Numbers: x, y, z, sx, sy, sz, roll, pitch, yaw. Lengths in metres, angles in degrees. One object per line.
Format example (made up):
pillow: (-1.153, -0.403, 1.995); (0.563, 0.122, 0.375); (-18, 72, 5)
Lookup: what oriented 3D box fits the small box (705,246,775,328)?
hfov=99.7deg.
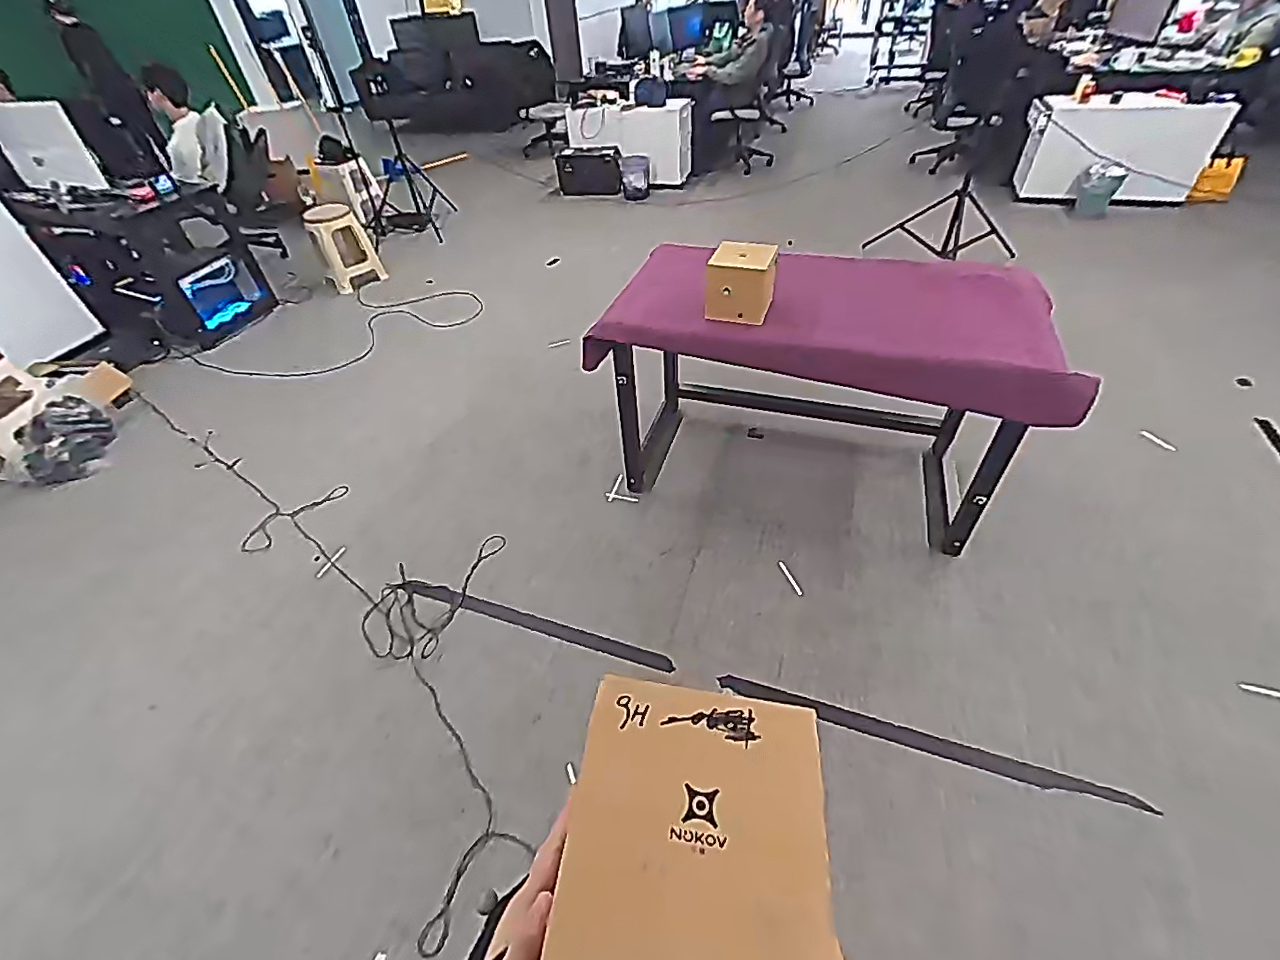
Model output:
small box: (0.290, -0.562, 1.575); (0.168, 0.176, 0.179); (12, 45, 17)

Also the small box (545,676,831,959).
small box: (0.036, 0.280, 0.413); (0.168, 0.176, 0.179); (8, 45, 4)
